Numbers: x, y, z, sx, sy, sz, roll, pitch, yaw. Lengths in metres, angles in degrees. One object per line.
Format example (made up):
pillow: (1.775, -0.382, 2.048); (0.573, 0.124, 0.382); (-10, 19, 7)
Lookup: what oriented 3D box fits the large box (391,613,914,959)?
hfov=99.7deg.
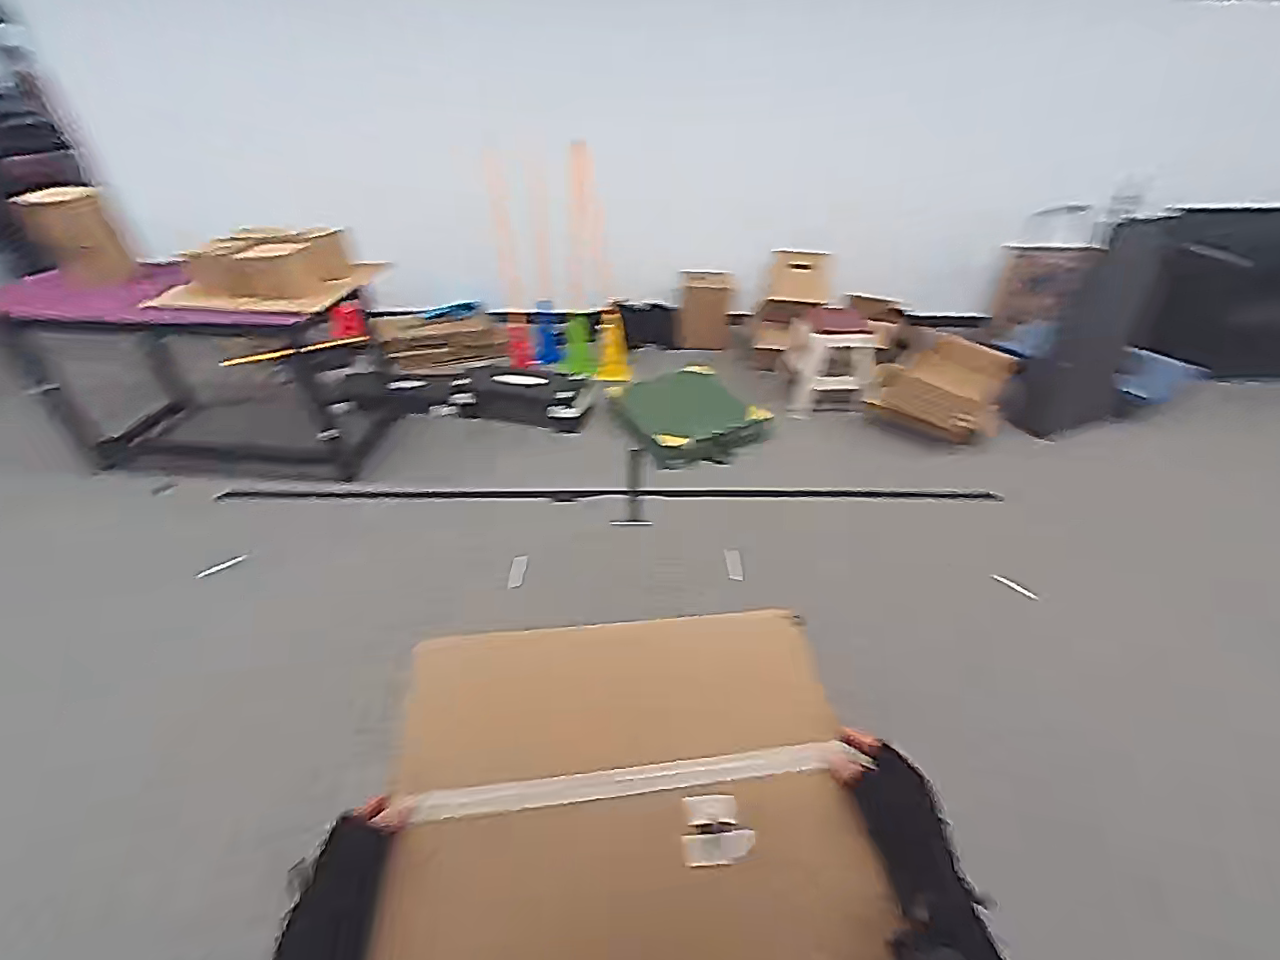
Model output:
large box: (-0.011, 0.375, 0.597); (0.408, 0.320, 0.320); (-2, 46, -7)
